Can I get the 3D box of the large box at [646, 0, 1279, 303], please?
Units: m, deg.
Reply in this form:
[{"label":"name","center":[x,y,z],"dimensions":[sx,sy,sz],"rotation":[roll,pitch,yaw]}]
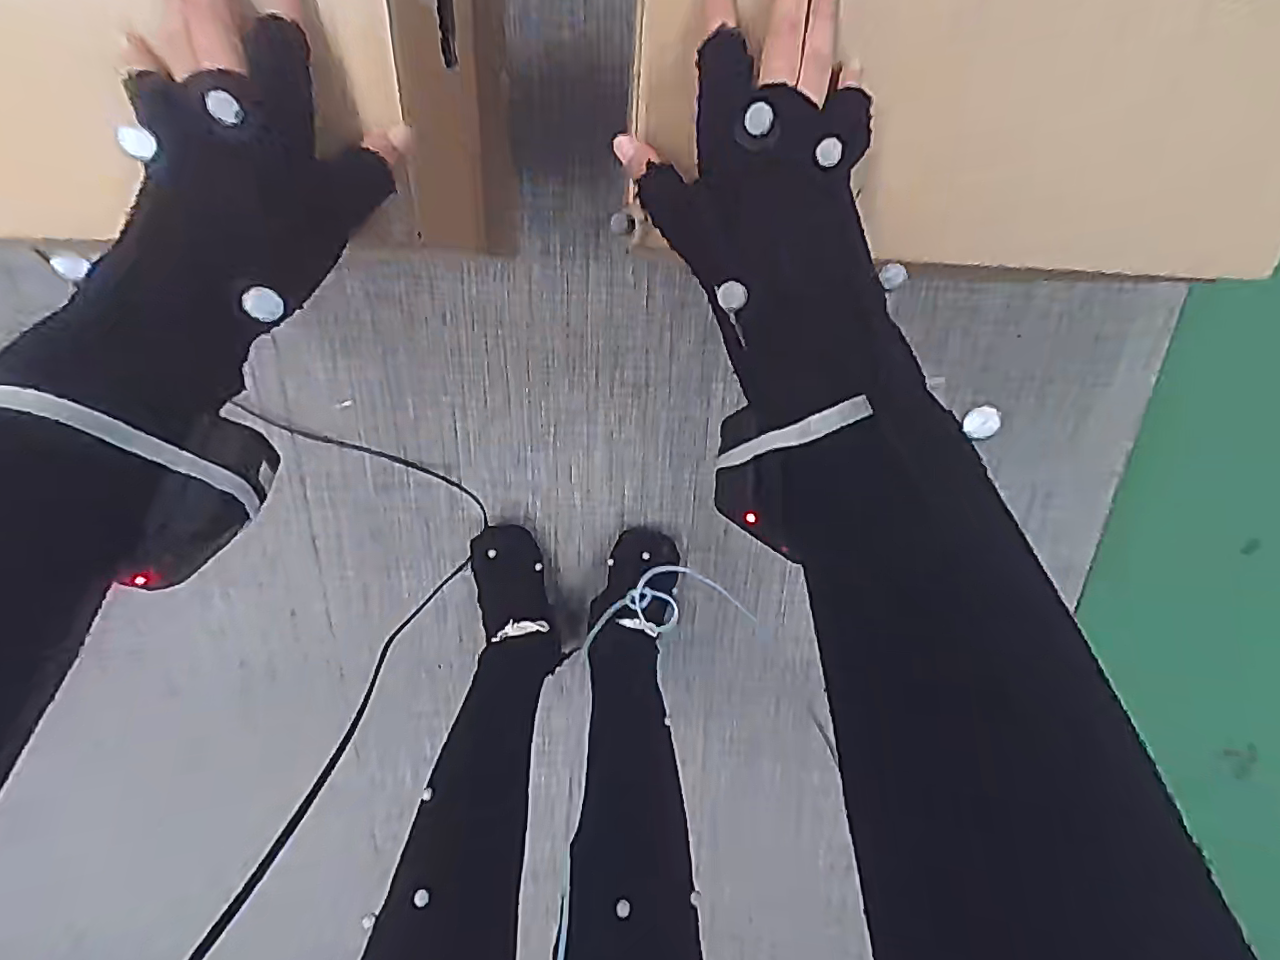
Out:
[{"label":"large box","center":[0.214,-0.326,0.449],"dimensions":[0.408,0.320,0.320],"rotation":[3,110,-1]}]
